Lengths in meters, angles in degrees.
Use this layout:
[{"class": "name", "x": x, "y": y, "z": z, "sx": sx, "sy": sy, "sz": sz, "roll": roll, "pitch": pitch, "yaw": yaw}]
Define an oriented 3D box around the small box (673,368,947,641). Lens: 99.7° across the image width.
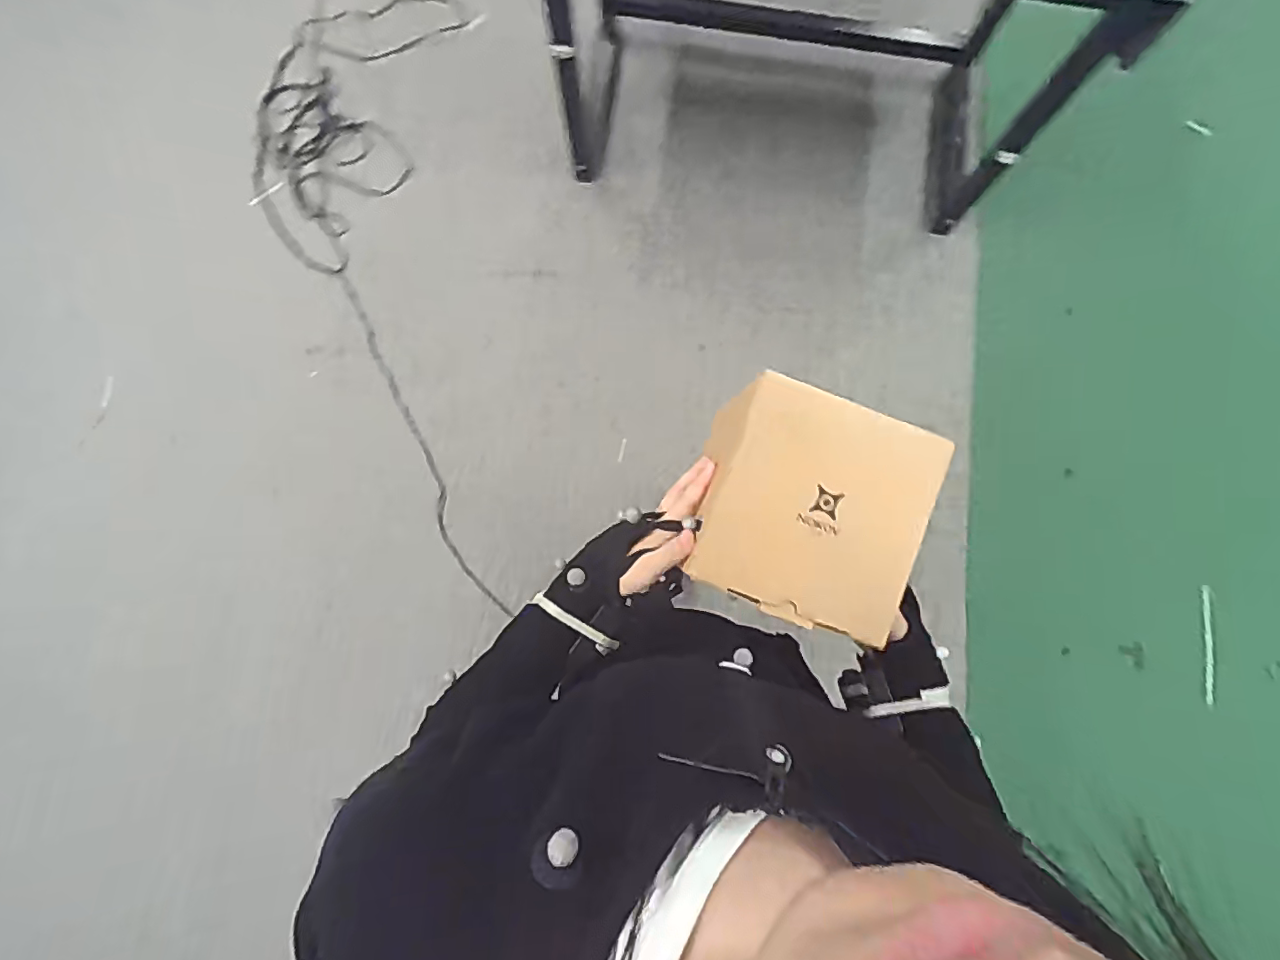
[{"class": "small box", "x": 0.139, "y": 0.021, "z": 0.507, "sx": 0.168, "sy": 0.176, "sz": 0.179, "roll": 20, "pitch": 88, "yaw": -3}]
